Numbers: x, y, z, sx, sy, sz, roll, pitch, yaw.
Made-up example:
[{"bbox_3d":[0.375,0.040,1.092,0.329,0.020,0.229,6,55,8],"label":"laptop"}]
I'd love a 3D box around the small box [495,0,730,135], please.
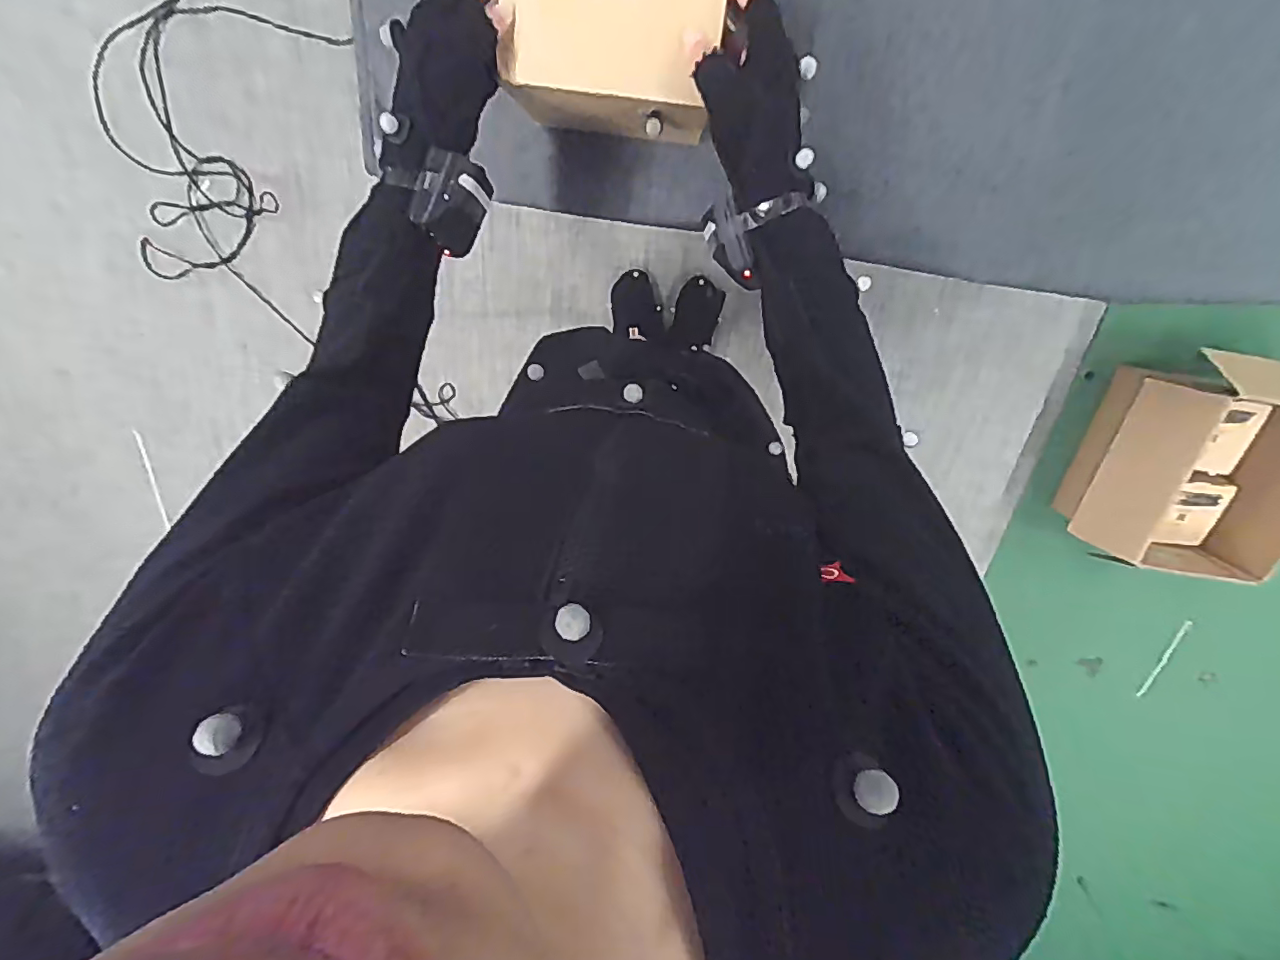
[{"bbox_3d":[-0.015,-0.411,0.464,0.179,0.176,0.168,7,114,0],"label":"small box"}]
